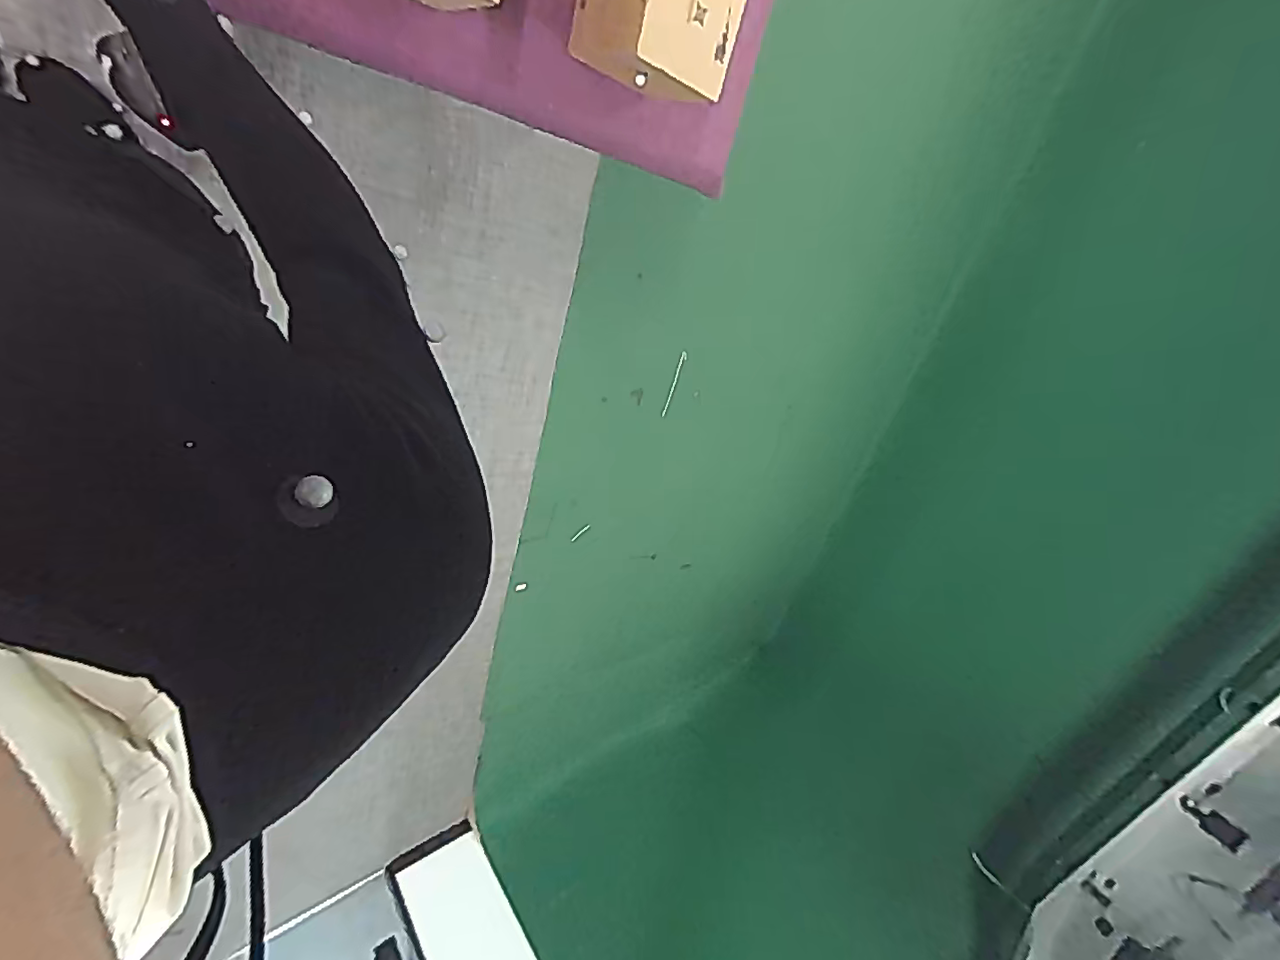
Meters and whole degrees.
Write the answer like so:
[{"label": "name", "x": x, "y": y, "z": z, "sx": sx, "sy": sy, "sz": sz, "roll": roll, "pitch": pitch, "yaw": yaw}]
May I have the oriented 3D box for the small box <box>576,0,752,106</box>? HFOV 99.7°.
[{"label": "small box", "x": 0.031, "y": -0.668, "z": 0.781, "sx": 0.179, "sy": 0.176, "sz": 0.168, "roll": -6, "pitch": 124, "yaw": -41}]
